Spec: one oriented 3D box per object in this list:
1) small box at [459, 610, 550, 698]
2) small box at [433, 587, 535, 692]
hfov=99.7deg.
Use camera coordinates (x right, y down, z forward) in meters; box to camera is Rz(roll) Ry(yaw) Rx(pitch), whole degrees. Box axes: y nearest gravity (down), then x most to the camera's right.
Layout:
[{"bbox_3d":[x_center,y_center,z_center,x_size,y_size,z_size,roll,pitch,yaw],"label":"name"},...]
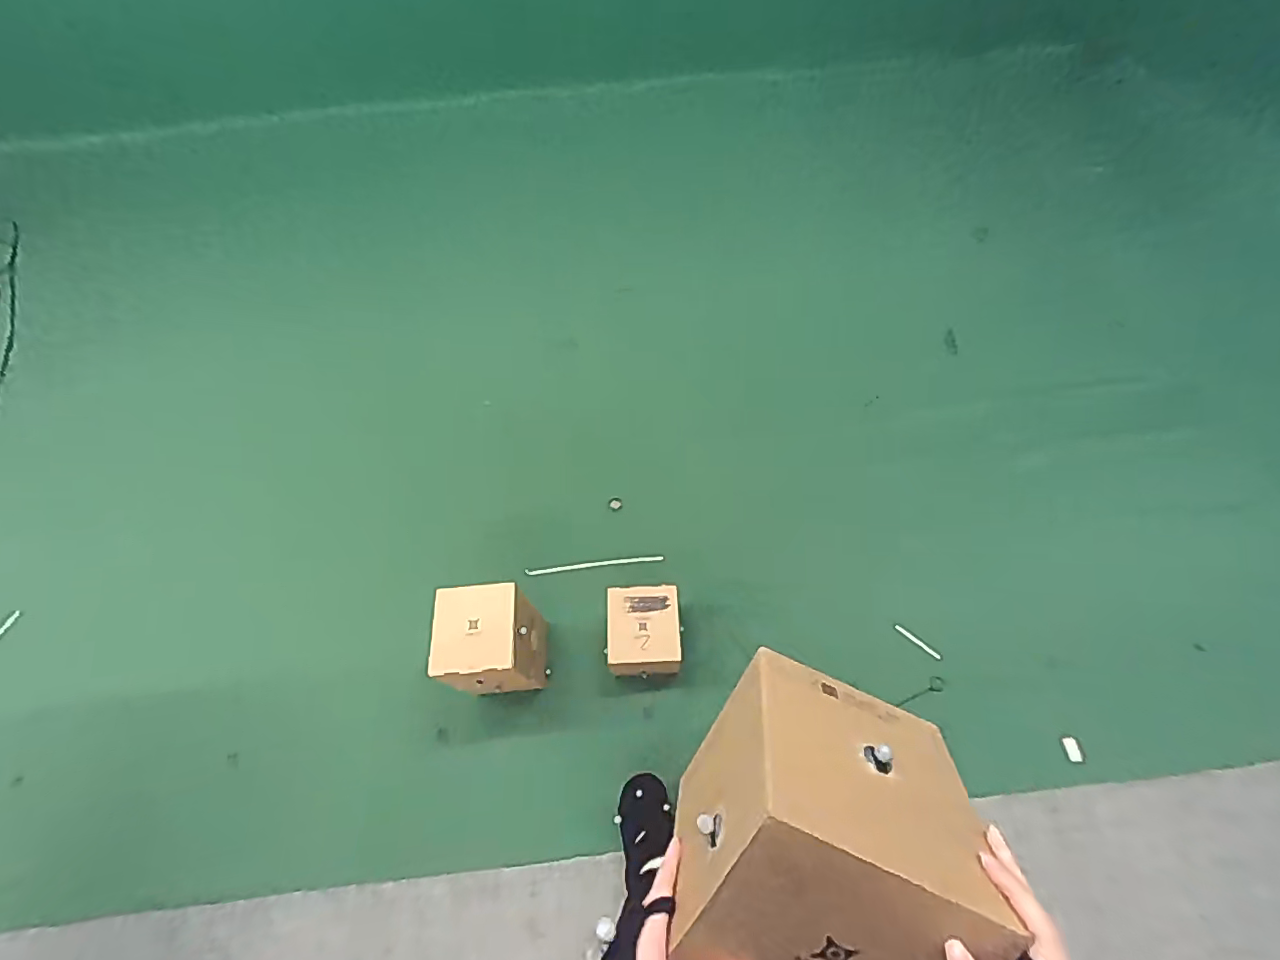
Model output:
[{"bbox_3d":[-0.316,0.420,1.299,0.179,0.176,0.168,-6,61,1],"label":"small box"},{"bbox_3d":[-0.323,0.344,1.155,0.168,0.176,0.179,-6,61,0],"label":"small box"}]
